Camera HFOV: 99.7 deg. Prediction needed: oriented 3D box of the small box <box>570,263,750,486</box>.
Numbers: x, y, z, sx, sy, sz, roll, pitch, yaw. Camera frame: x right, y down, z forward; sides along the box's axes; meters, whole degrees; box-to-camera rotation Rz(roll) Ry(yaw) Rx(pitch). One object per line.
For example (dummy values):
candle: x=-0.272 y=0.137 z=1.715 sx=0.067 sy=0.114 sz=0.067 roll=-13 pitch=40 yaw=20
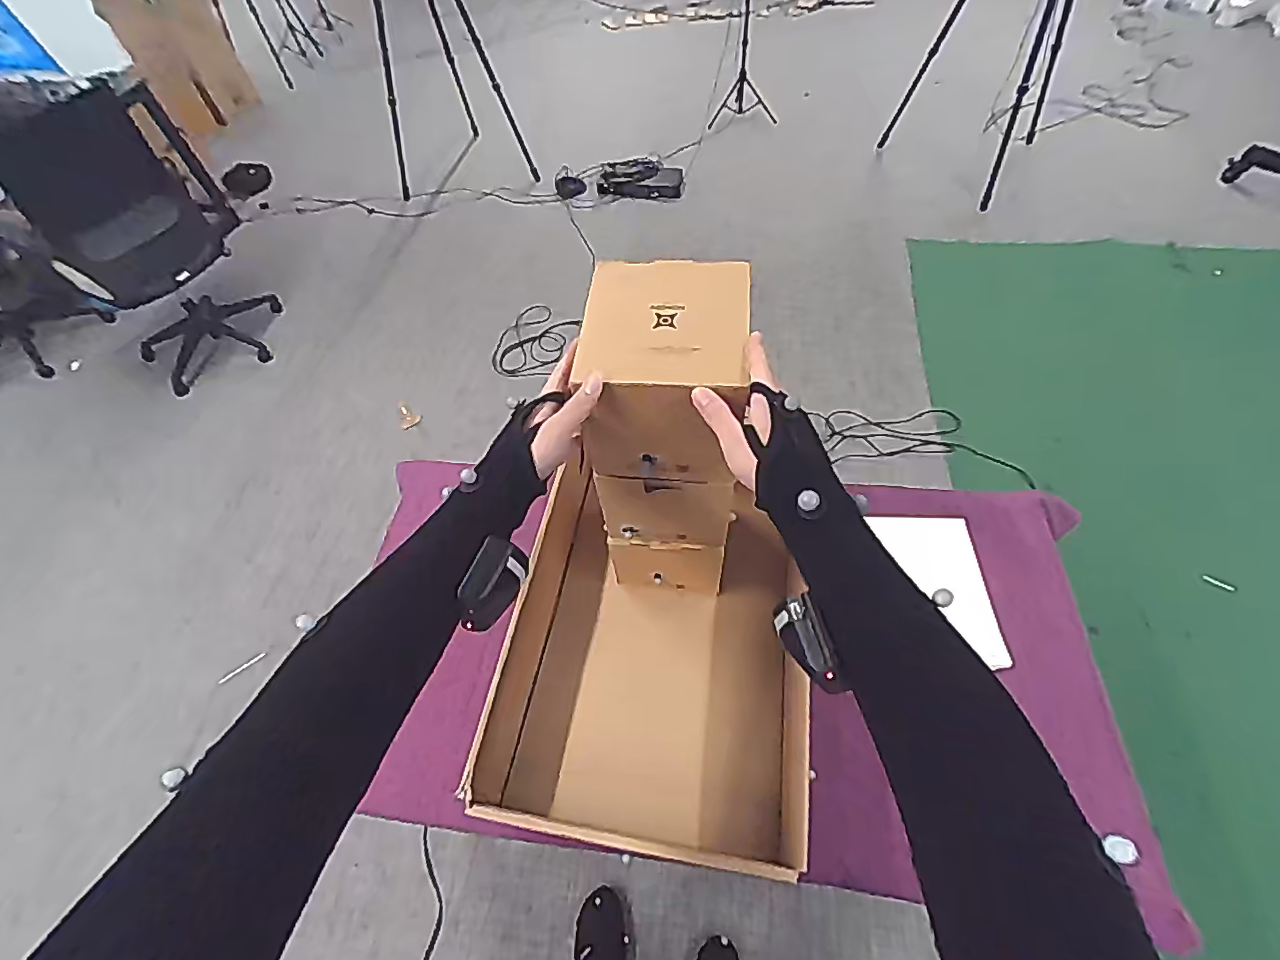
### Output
small box: x=0.030 y=-0.114 z=0.602 sx=0.168 sy=0.176 sz=0.179 roll=3 pitch=59 yaw=7

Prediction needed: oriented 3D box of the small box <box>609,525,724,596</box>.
small box: x=0.050 y=0.069 z=0.872 sx=0.168 sy=0.176 sz=0.179 roll=4 pitch=58 yaw=7

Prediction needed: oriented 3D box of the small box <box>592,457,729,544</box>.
small box: x=0.039 y=-0.027 z=0.739 sx=0.168 sy=0.176 sz=0.179 roll=3 pitch=57 yaw=6
